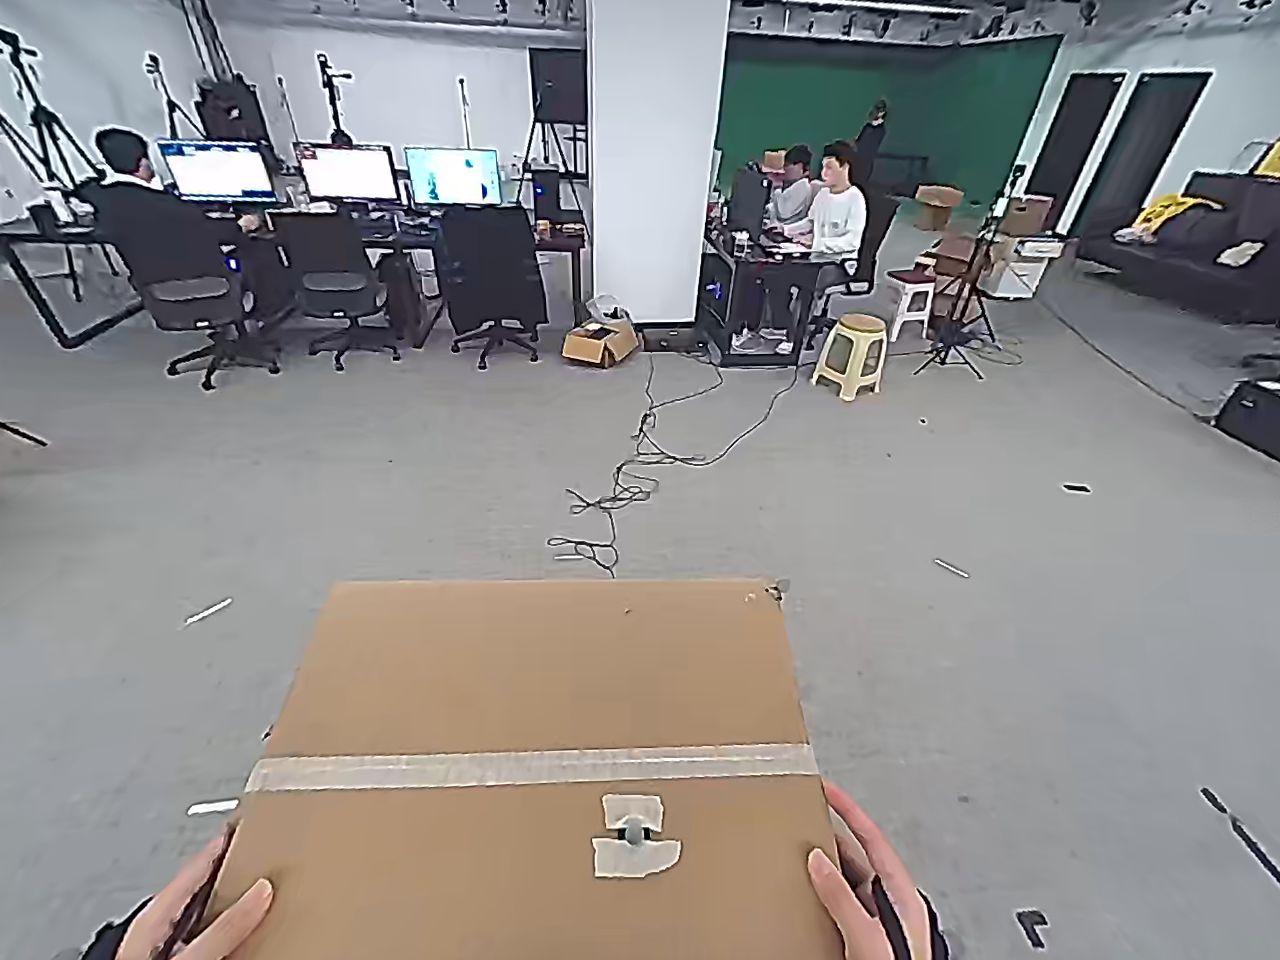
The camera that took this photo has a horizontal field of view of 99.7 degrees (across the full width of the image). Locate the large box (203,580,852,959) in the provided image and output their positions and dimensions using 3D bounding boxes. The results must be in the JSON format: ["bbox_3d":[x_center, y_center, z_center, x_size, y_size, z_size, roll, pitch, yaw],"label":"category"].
[{"bbox_3d":[-0.077,0.308,0.518,0.408,0.320,0.320,1,50,-3],"label":"large box"}]
